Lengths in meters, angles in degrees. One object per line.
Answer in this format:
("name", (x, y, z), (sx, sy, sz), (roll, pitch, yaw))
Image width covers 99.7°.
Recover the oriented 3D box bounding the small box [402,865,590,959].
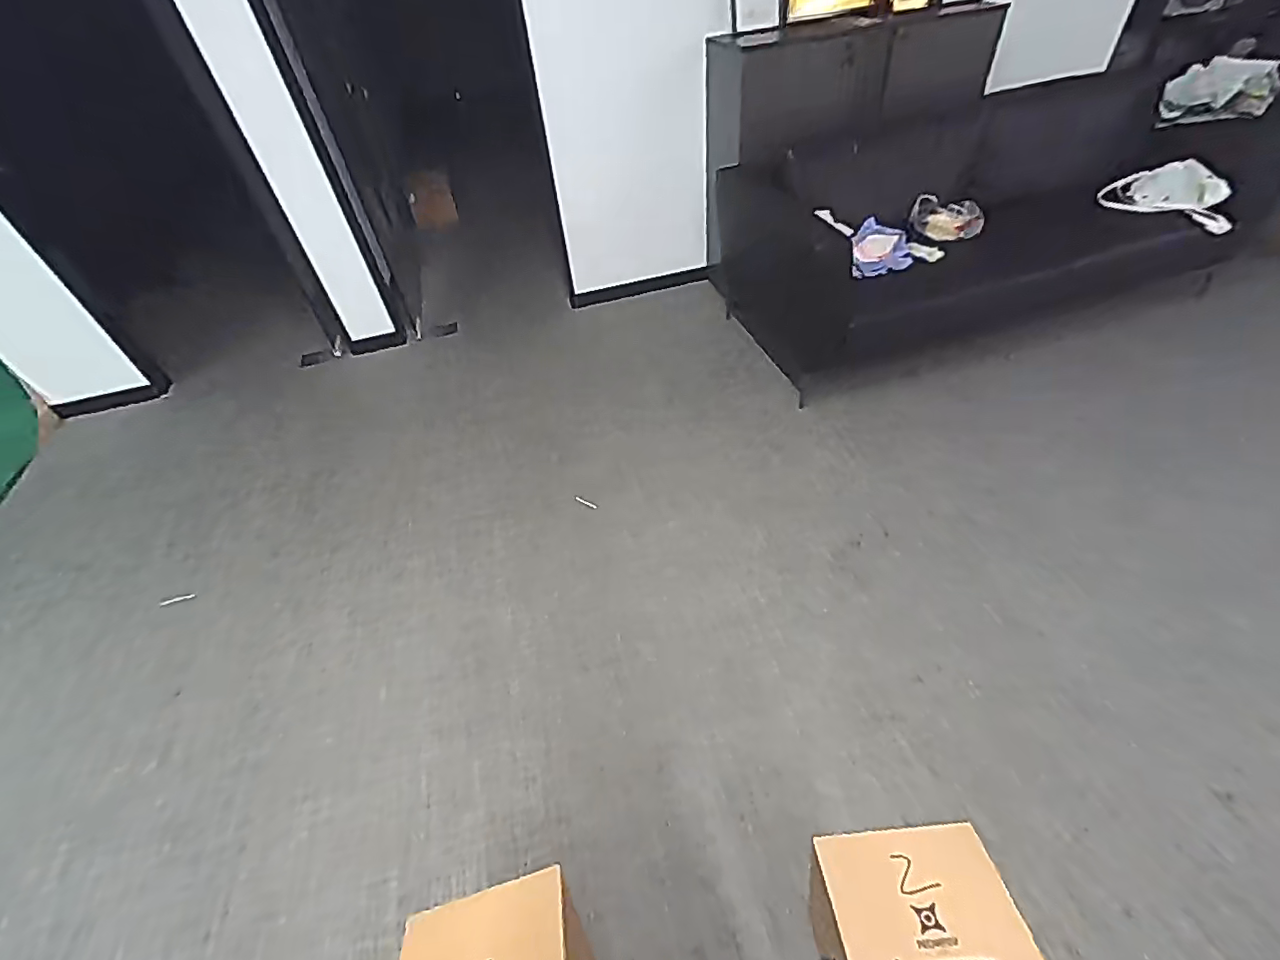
("small box", (-0.135, 0.543, 0.534), (0.168, 0.176, 0.179), (-15, 19, -6))
